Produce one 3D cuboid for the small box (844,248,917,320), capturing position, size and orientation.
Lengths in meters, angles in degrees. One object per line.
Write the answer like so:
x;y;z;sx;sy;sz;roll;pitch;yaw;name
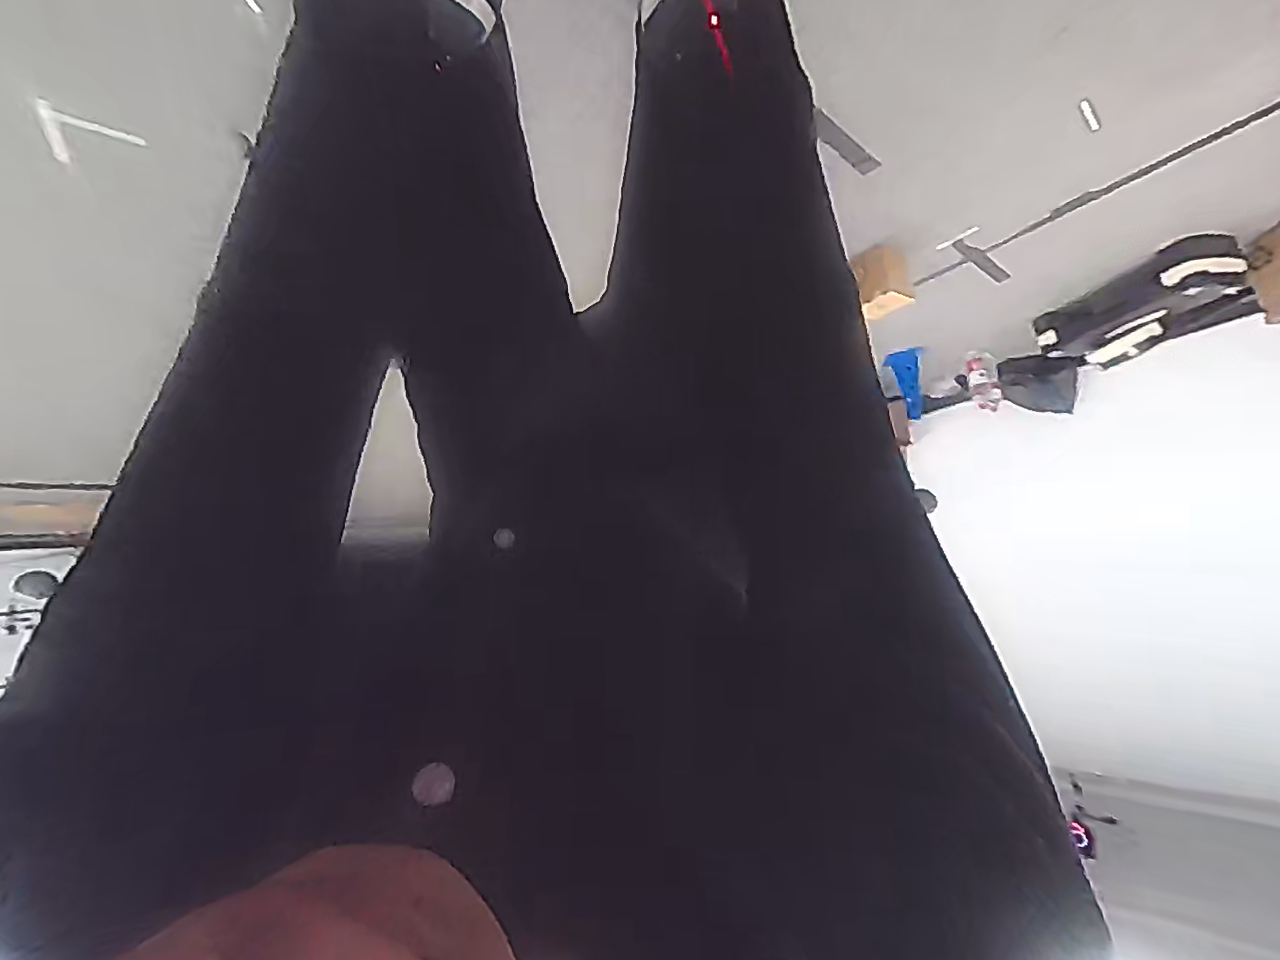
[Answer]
0.859;-0.700;1.936;0.179;0.176;0.168;2;167;-36;small box
